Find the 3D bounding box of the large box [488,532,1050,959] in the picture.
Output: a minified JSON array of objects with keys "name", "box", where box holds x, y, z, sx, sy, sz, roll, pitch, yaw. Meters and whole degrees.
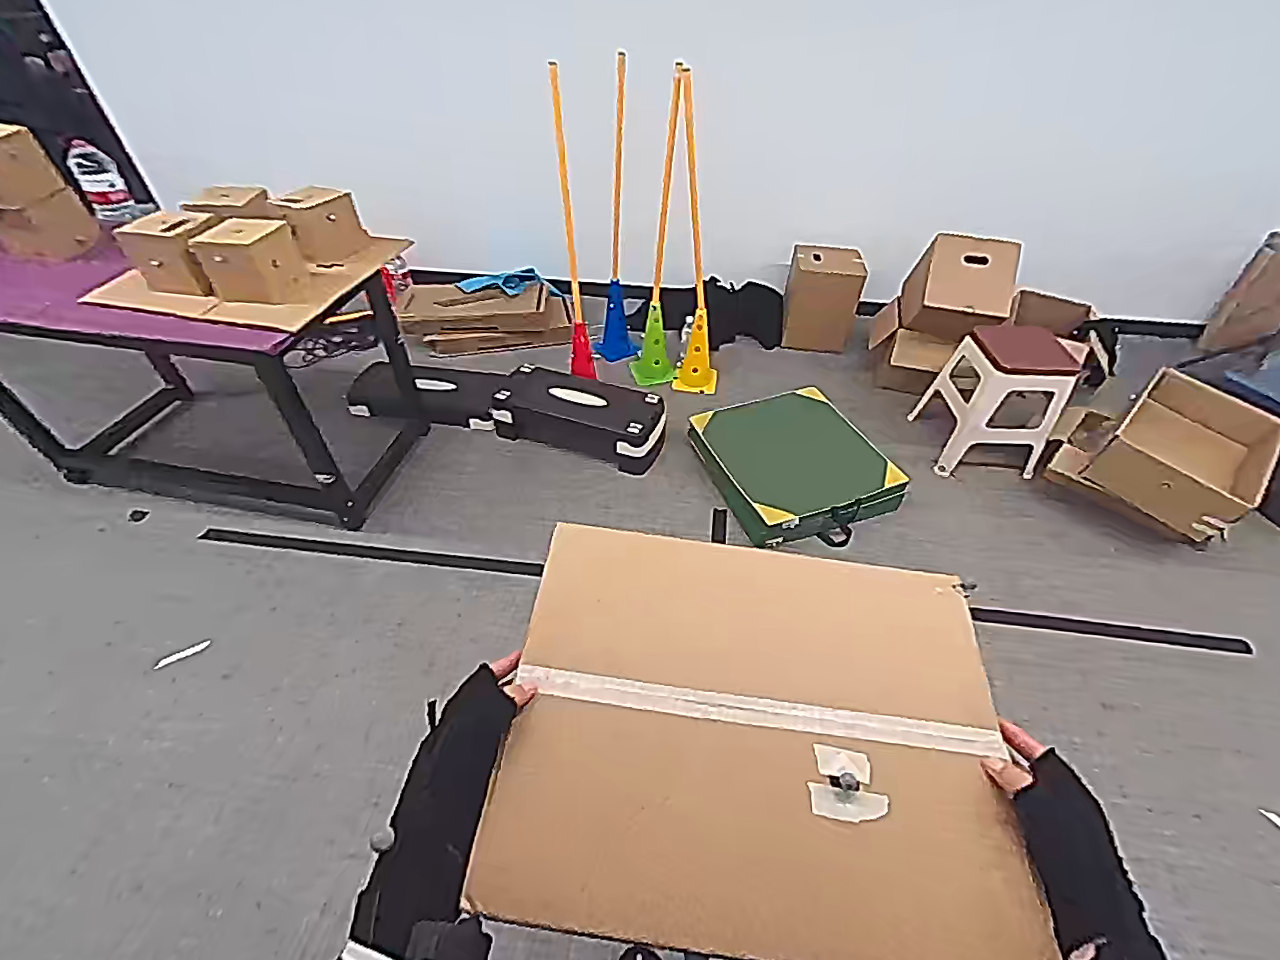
[{"name":"large box","box":[0.094,0.286,0.581,0.408,0.320,0.320,8,54,2]}]
